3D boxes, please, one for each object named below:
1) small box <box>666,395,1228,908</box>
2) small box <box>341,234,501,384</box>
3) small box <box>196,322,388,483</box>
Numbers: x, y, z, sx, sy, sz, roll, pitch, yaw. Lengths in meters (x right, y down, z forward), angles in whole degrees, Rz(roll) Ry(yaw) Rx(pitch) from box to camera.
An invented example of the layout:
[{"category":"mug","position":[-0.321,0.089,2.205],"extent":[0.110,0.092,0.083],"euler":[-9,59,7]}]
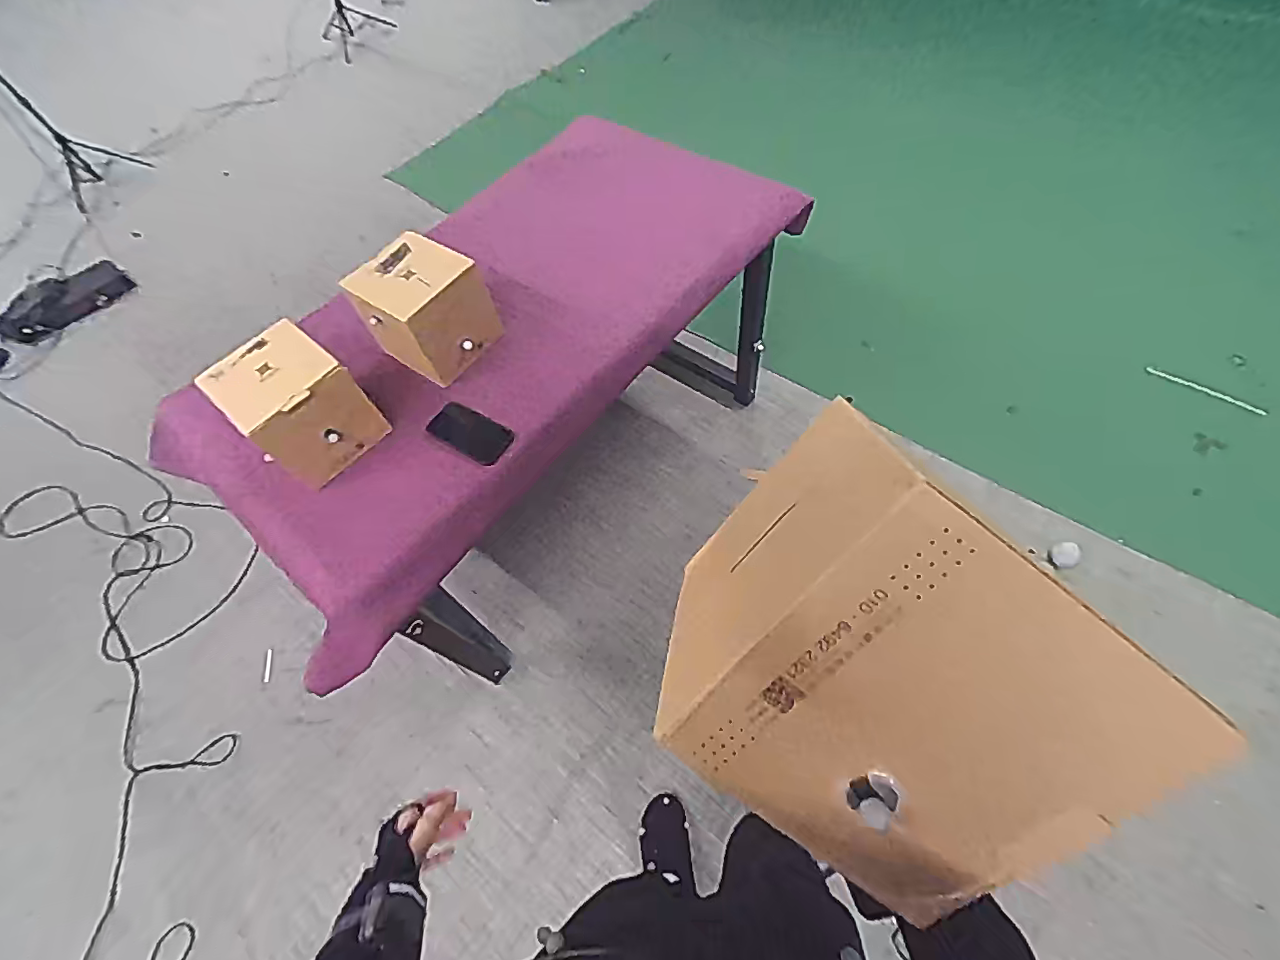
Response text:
[{"category":"small box","position":[0.129,0.073,0.308],"extent":[0.176,0.179,0.168],"euler":[38,110,-3]},{"category":"small box","position":[-0.386,-0.304,0.981],"extent":[0.179,0.176,0.168],"euler":[30,68,21]},{"category":"small box","position":[-0.559,-0.119,0.892],"extent":[0.179,0.176,0.168],"euler":[36,70,23]}]
